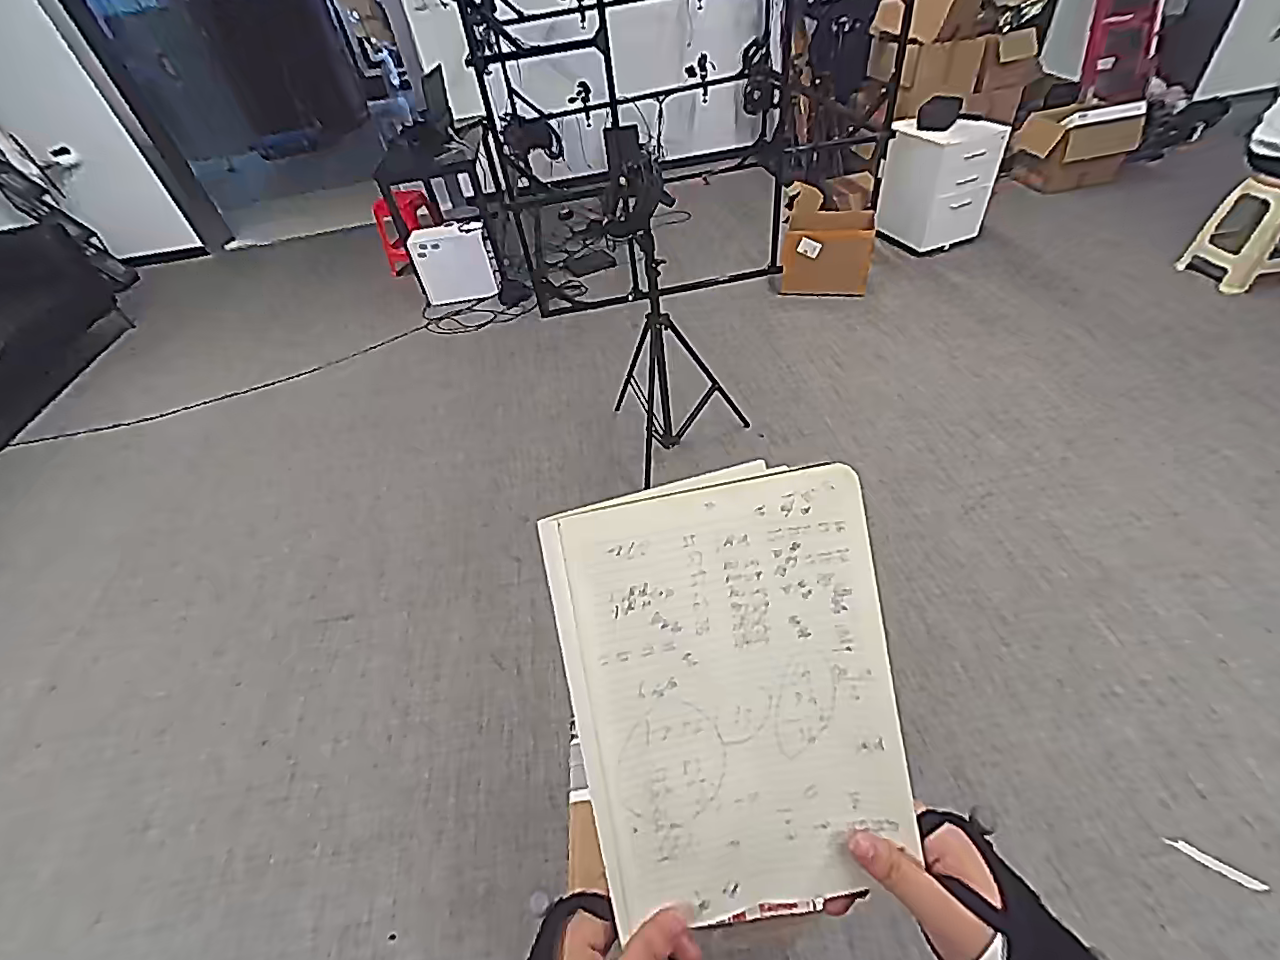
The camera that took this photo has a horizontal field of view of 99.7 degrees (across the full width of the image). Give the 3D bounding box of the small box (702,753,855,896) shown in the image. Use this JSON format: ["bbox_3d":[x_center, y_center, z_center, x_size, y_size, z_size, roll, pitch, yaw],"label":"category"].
[{"bbox_3d":[0.197,0.510,0.828,0.179,0.176,0.168,-12,45,-4],"label":"small box"}]

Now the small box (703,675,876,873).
[{"bbox_3d":[0.180,0.389,0.718,0.168,0.176,0.179,-9,45,-3],"label":"small box"}]
